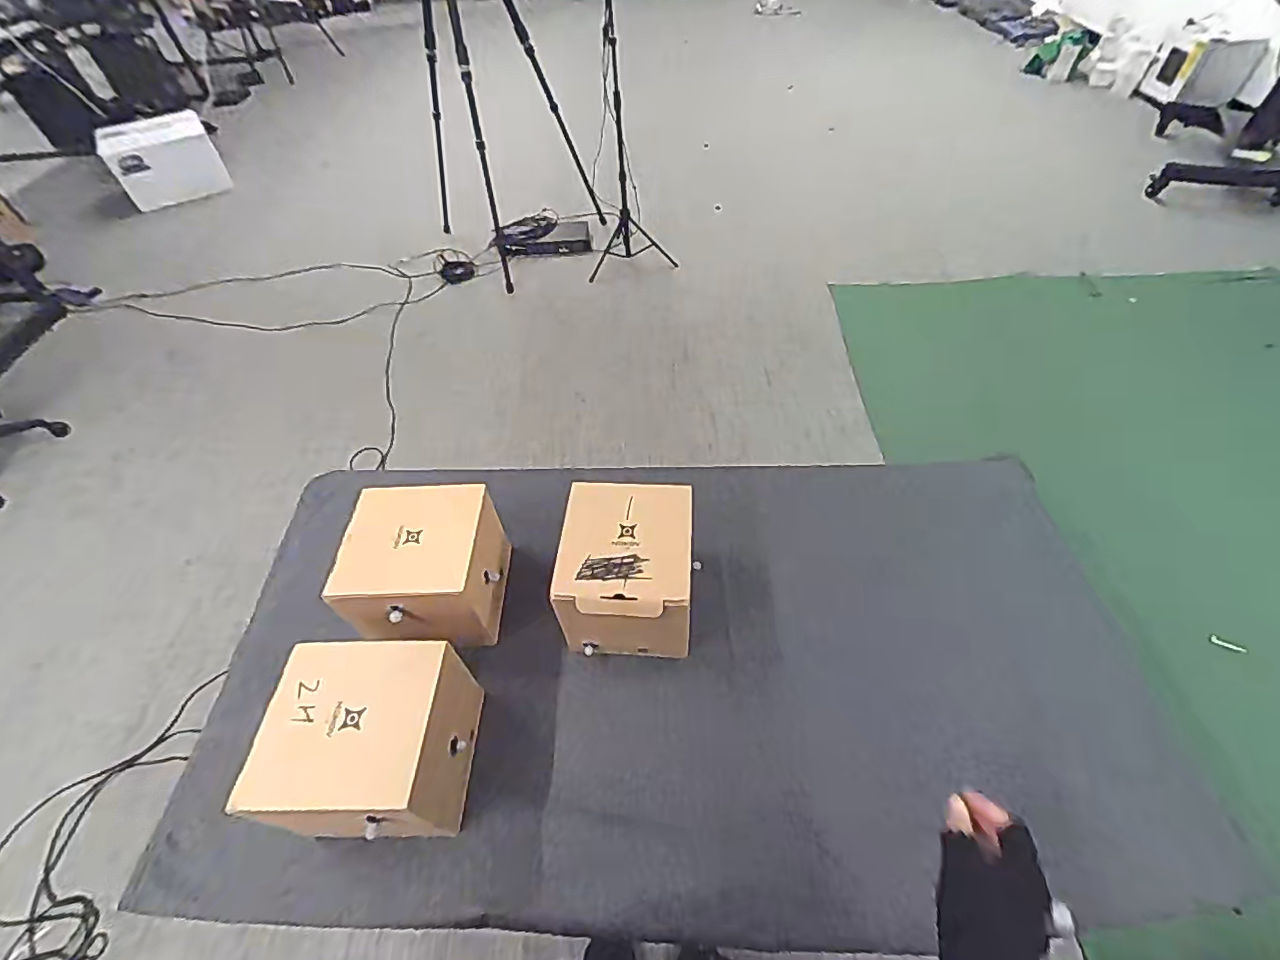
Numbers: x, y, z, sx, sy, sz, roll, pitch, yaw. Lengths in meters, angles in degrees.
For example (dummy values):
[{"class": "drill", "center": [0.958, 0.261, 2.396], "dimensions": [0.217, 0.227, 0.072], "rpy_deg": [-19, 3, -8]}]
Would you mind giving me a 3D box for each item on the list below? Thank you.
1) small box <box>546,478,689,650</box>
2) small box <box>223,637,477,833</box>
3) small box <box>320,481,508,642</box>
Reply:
[{"class": "small box", "center": [-0.018, 0.117, 0.736], "dimensions": [0.168, 0.176, 0.179], "rpy_deg": [2, 51, 5]}, {"class": "small box", "center": [-0.300, 0.290, 0.612], "dimensions": [0.179, 0.176, 0.168], "rpy_deg": [-1, 50, 2]}, {"class": "small box", "center": [-0.295, 0.118, 0.755], "dimensions": [0.179, 0.176, 0.168], "rpy_deg": [-3, 52, 2]}]
